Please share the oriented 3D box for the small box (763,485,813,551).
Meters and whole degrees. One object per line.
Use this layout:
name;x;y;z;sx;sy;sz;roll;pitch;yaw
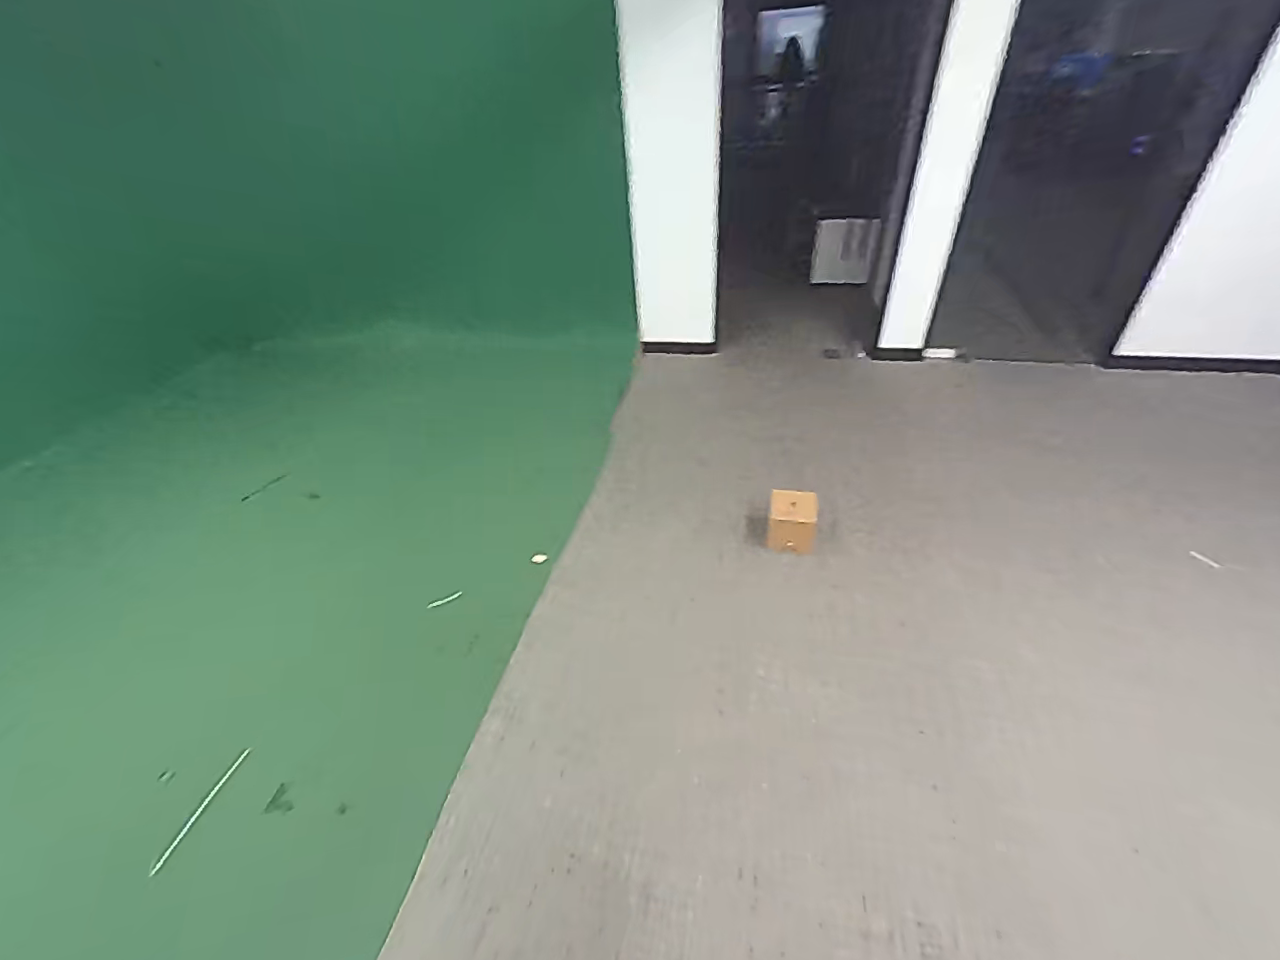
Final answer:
small box;0.564;0.144;2.067;0.168;0.176;0.179;5;40;13
